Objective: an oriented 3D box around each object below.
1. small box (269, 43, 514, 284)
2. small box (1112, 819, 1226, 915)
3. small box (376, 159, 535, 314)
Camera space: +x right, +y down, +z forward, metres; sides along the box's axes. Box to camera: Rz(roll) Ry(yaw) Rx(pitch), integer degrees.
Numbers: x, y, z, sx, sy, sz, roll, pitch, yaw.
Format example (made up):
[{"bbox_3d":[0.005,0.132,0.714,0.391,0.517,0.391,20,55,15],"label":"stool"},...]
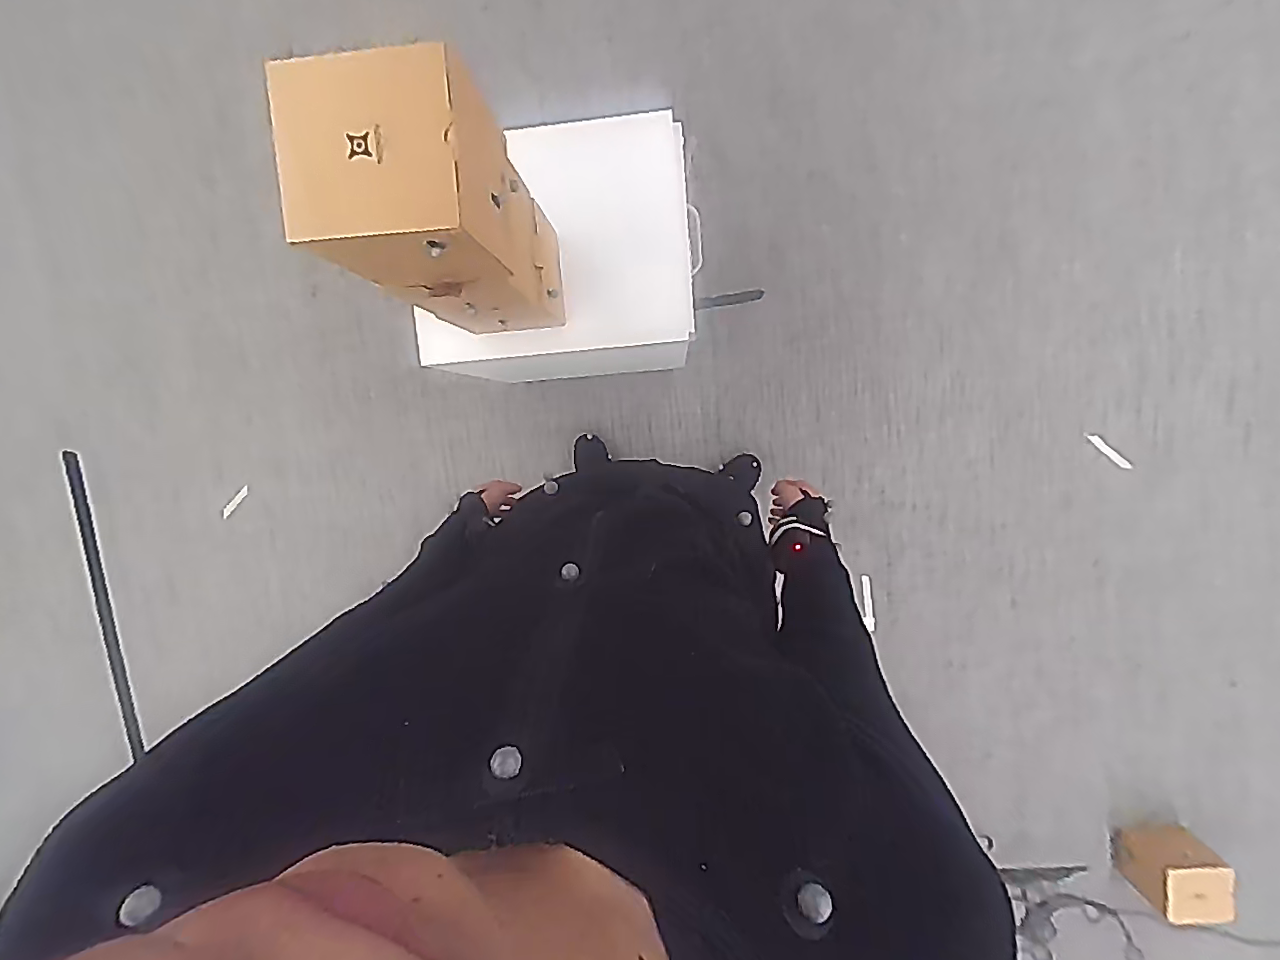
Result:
[{"bbox_3d":[-0.249,-0.319,0.582,0.179,0.176,0.168,-3,96,4],"label":"small box"},{"bbox_3d":[1.549,1.132,1.592,0.179,0.176,0.168,-5,96,4],"label":"small box"},{"bbox_3d":[-0.248,-0.338,0.744,0.168,0.176,0.179,-2,96,4],"label":"small box"}]
